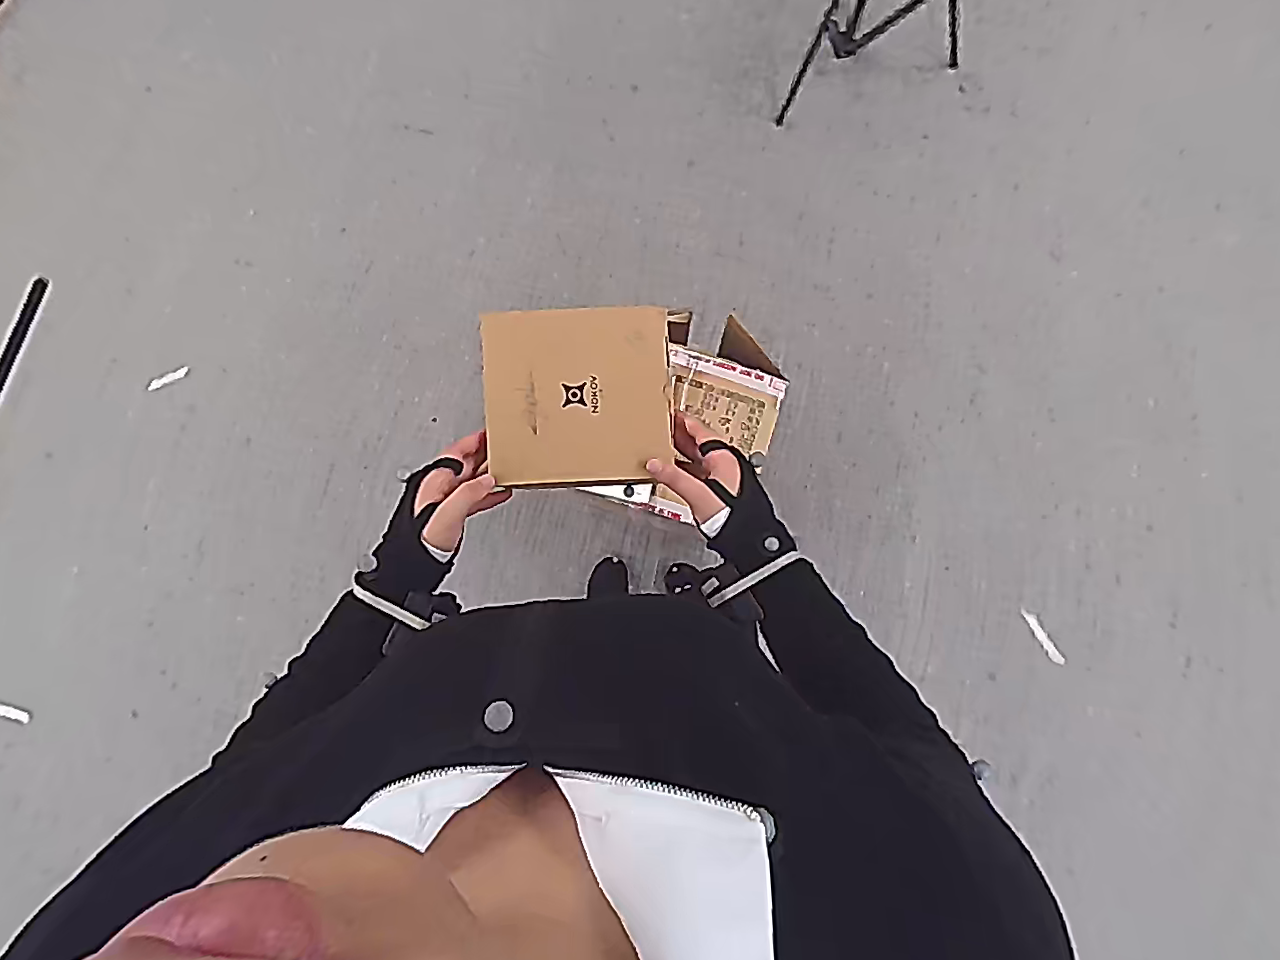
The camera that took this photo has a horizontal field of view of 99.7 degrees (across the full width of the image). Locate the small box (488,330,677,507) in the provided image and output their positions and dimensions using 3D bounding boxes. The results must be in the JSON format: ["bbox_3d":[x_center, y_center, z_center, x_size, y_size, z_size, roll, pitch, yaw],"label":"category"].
[{"bbox_3d":[-0.059,-0.058,0.603,0.179,0.176,0.168,-4,87,-2],"label":"small box"}]
